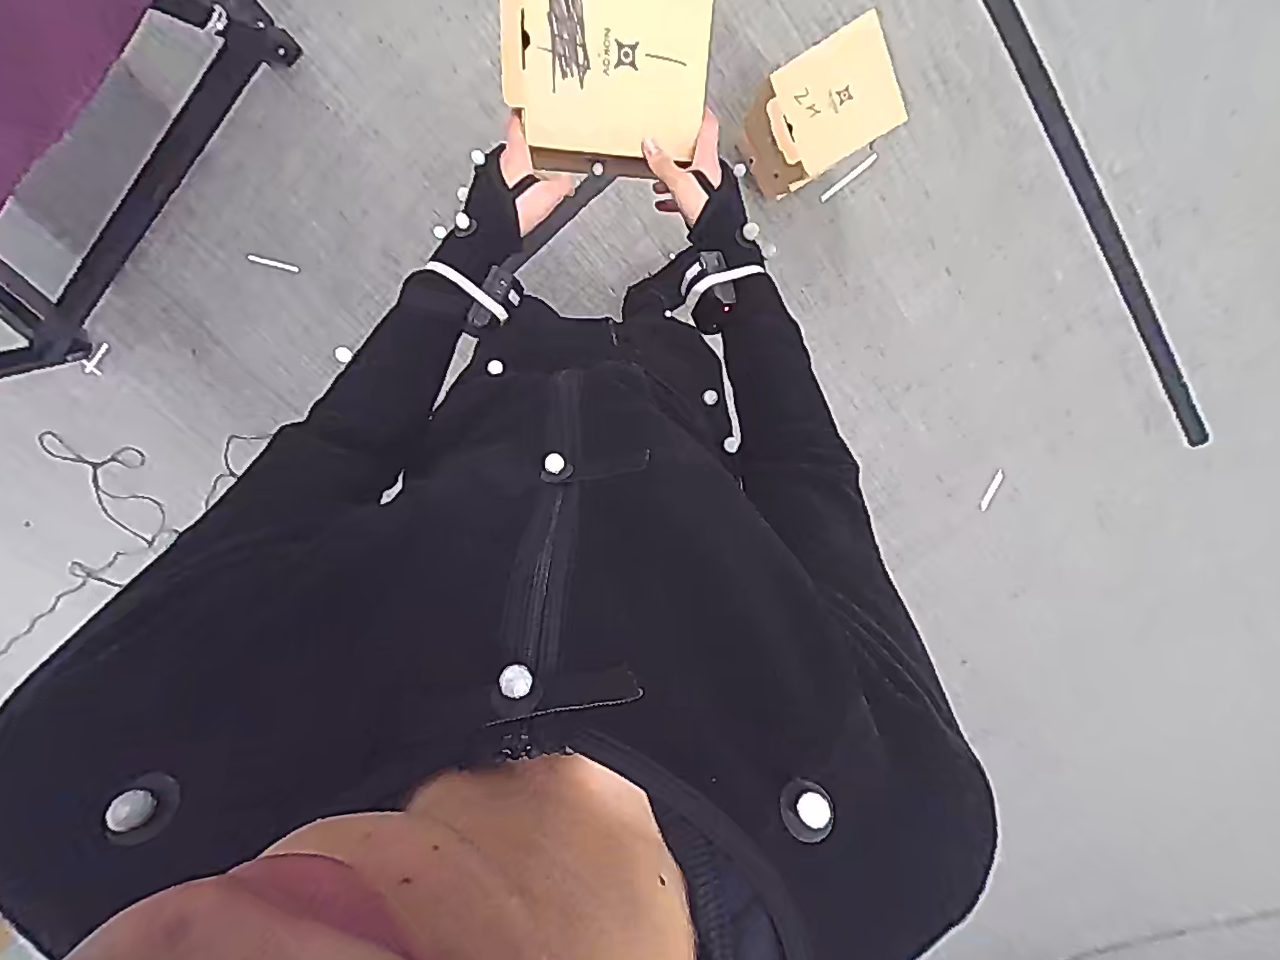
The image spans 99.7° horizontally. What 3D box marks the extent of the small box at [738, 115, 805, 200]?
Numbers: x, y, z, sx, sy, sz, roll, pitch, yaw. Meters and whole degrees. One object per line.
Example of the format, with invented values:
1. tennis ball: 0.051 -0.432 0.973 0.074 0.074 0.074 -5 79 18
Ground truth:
1. small box: 0.338 -0.769 1.241 0.179 0.176 0.168 -32 109 17

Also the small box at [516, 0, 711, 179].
1. small box: -0.037 -0.422 0.569 0.179 0.176 0.168 -2 114 -11

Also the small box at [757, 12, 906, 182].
1. small box: 0.321 -0.645 0.935 0.179 0.176 0.168 -25 111 14
